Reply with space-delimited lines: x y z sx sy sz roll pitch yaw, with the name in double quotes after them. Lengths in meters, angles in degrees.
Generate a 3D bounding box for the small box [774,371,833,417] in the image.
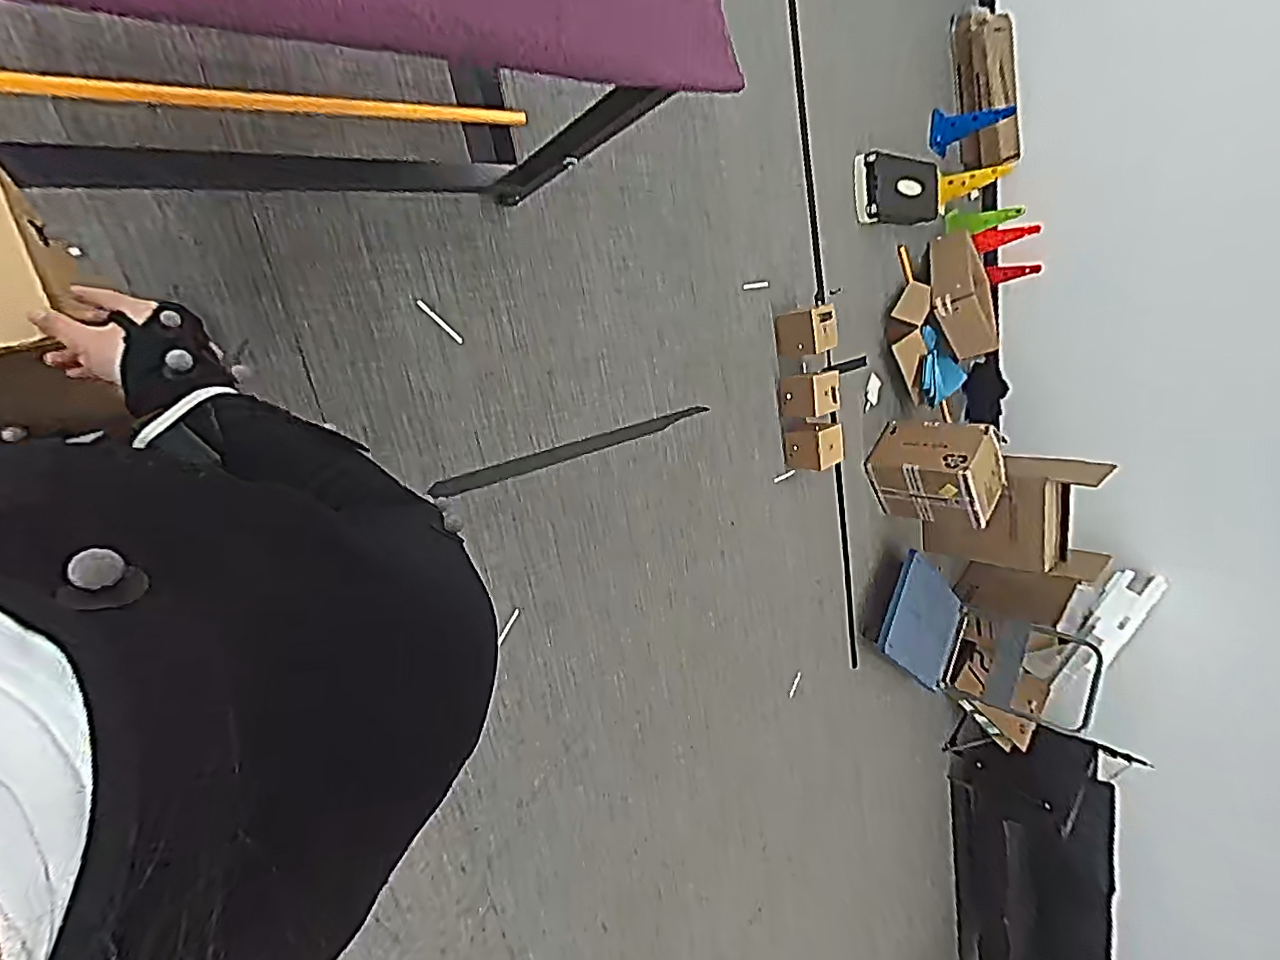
0.685 -0.363 2.266 0.179 0.176 0.168 -19 107 -36 "small box"

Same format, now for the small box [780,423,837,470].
0.725 -0.150 2.332 0.179 0.176 0.168 -21 109 -36 "small box"
